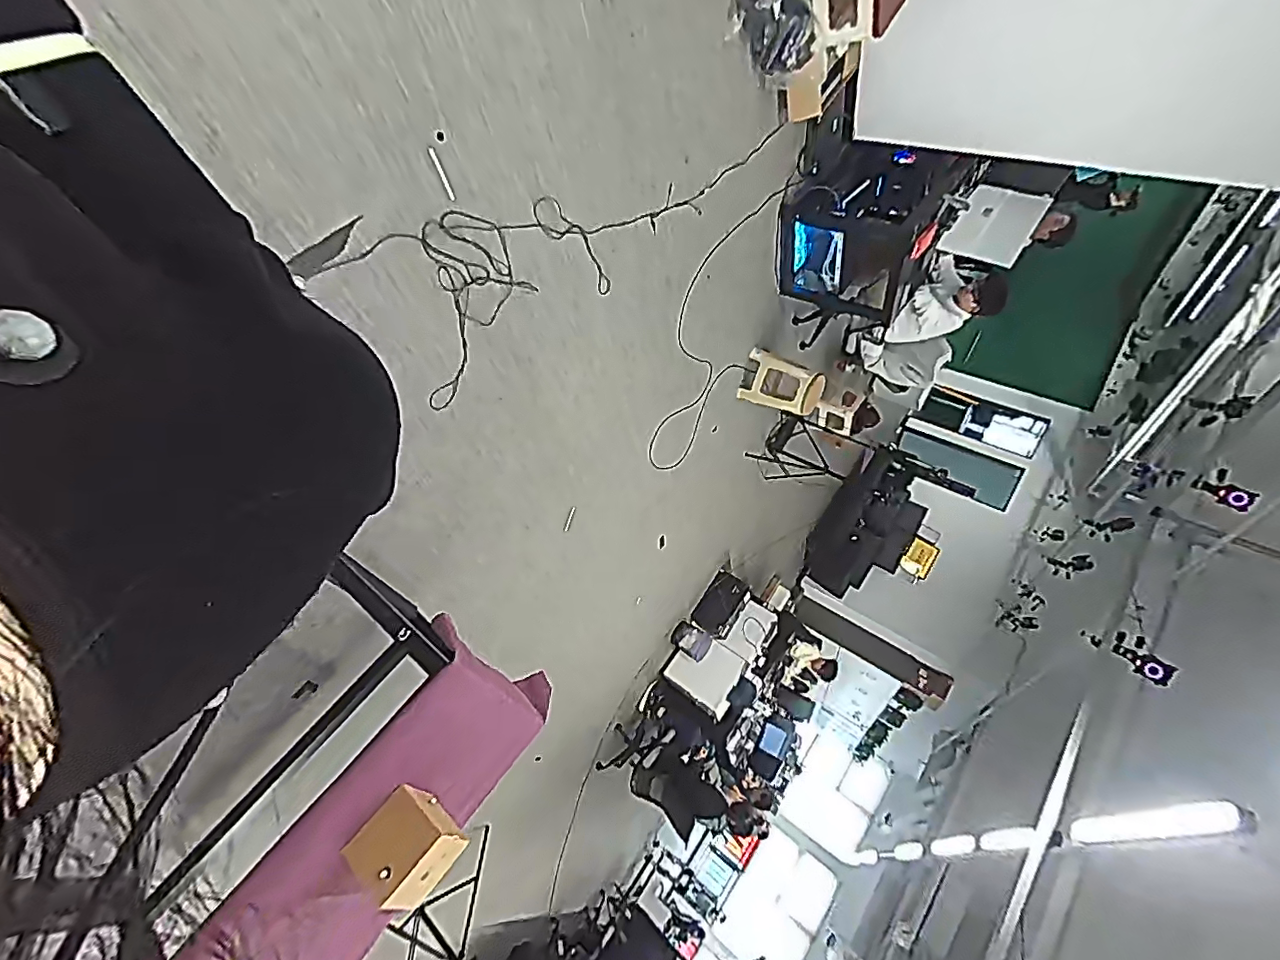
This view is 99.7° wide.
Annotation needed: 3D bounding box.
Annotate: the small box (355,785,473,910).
[{"bbox_3d":[-0.542,0.873,1.288,0.179,0.176,0.168,-47,148,-25],"label":"small box"}]
